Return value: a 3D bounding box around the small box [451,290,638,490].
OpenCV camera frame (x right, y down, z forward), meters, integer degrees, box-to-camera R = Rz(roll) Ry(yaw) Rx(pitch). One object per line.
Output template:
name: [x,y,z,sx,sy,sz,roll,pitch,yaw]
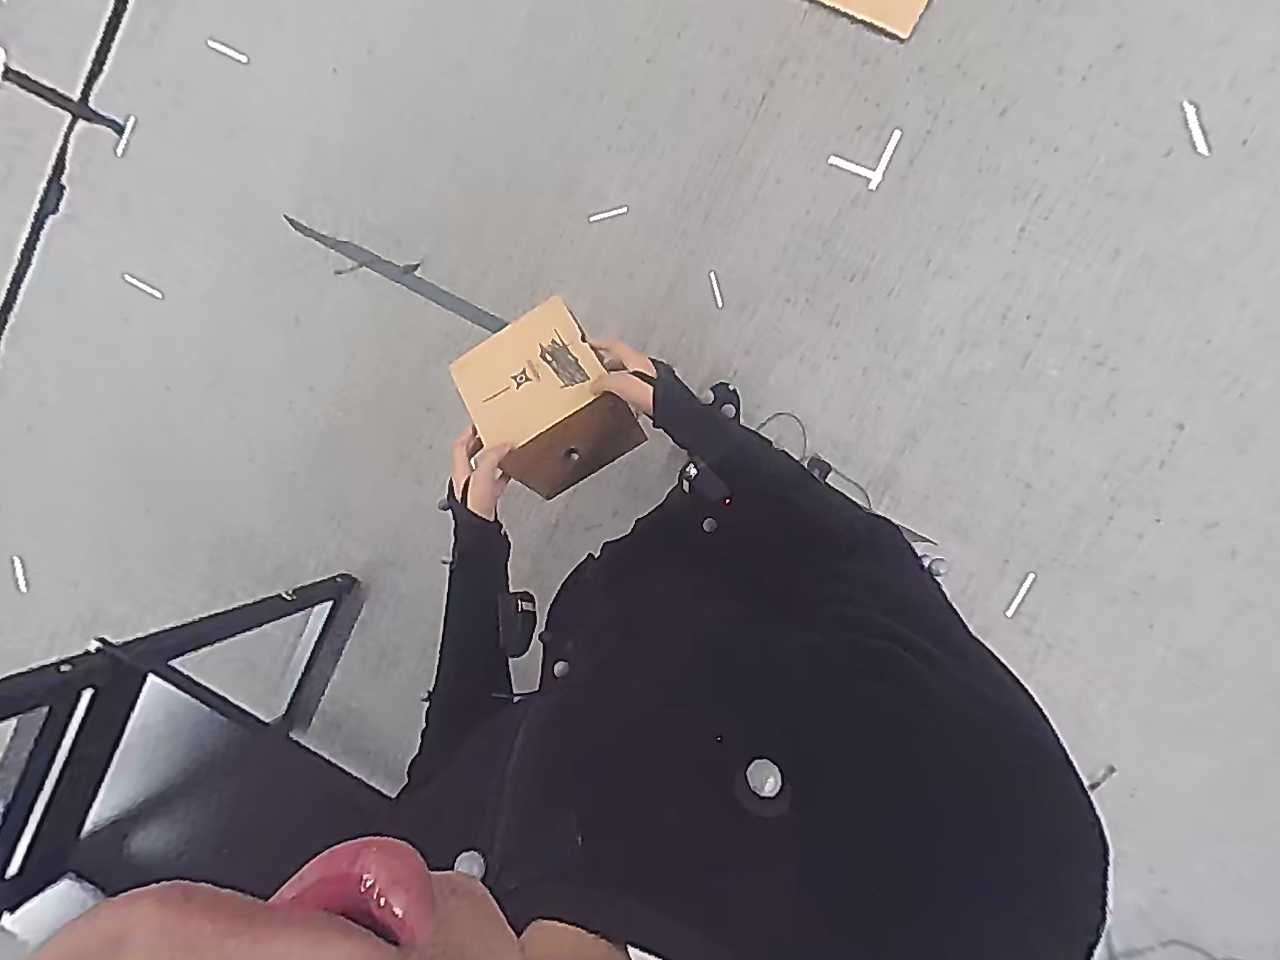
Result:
small box: [-0.117,-0.112,0.737,0.179,0.176,0.168,-31,68,3]
